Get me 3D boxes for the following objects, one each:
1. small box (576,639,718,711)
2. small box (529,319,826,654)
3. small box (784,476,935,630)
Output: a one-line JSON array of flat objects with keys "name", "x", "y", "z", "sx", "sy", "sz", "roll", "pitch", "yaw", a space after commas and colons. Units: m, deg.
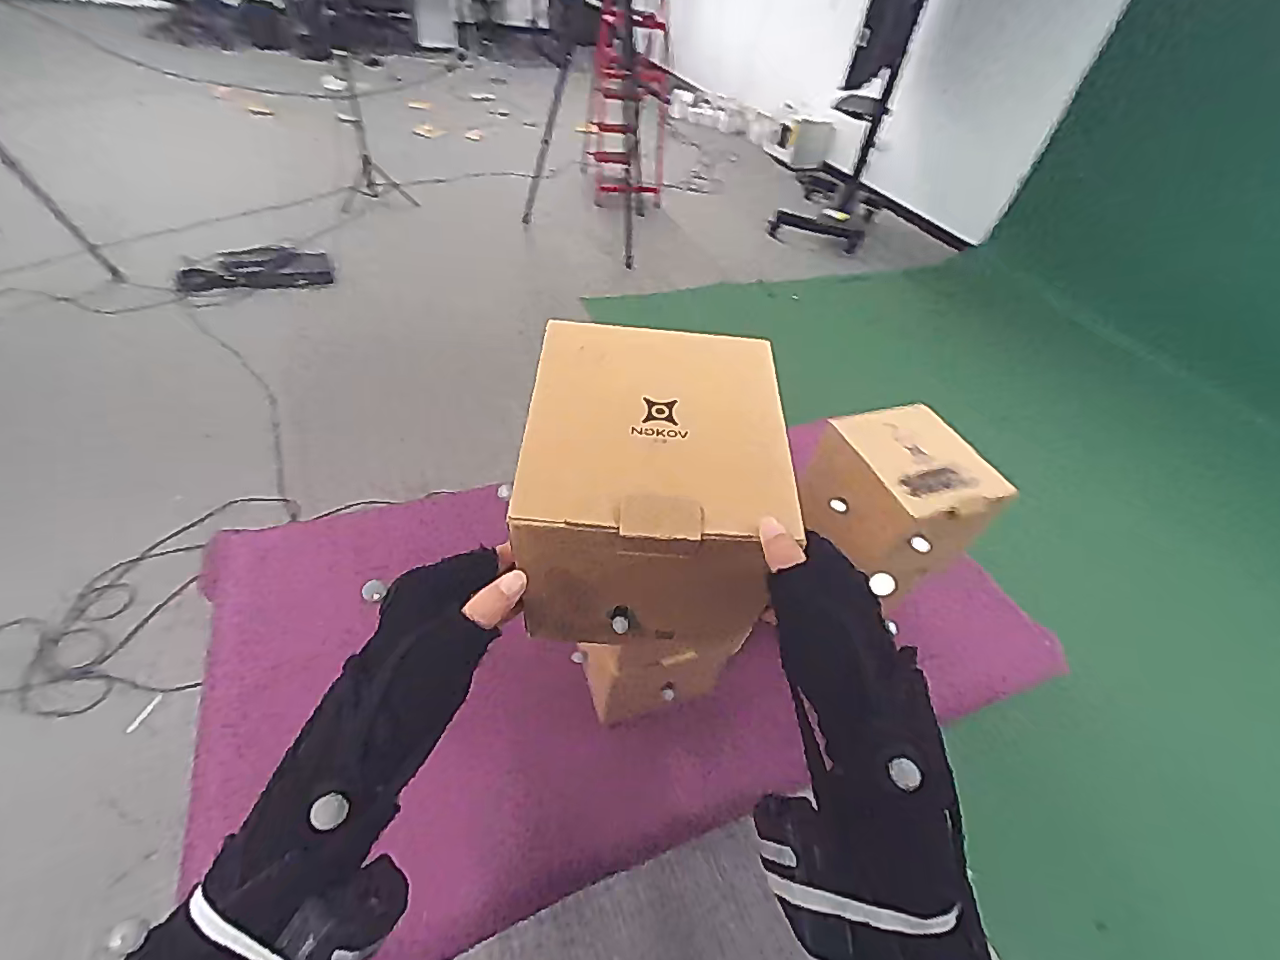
[{"name": "small box", "x": 0.003, "y": 0.197, "z": 0.743, "sx": 0.168, "sy": 0.176, "sz": 0.179, "roll": -9, "pitch": 51, "yaw": -19}, {"name": "small box", "x": 0.016, "y": 0.011, "z": 0.402, "sx": 0.168, "sy": 0.176, "sz": 0.179, "roll": 6, "pitch": 54, "yaw": -3}, {"name": "small box", "x": 0.315, "y": 0.121, "z": 0.863, "sx": 0.168, "sy": 0.176, "sz": 0.179, "roll": -8, "pitch": 50, "yaw": -19}]
